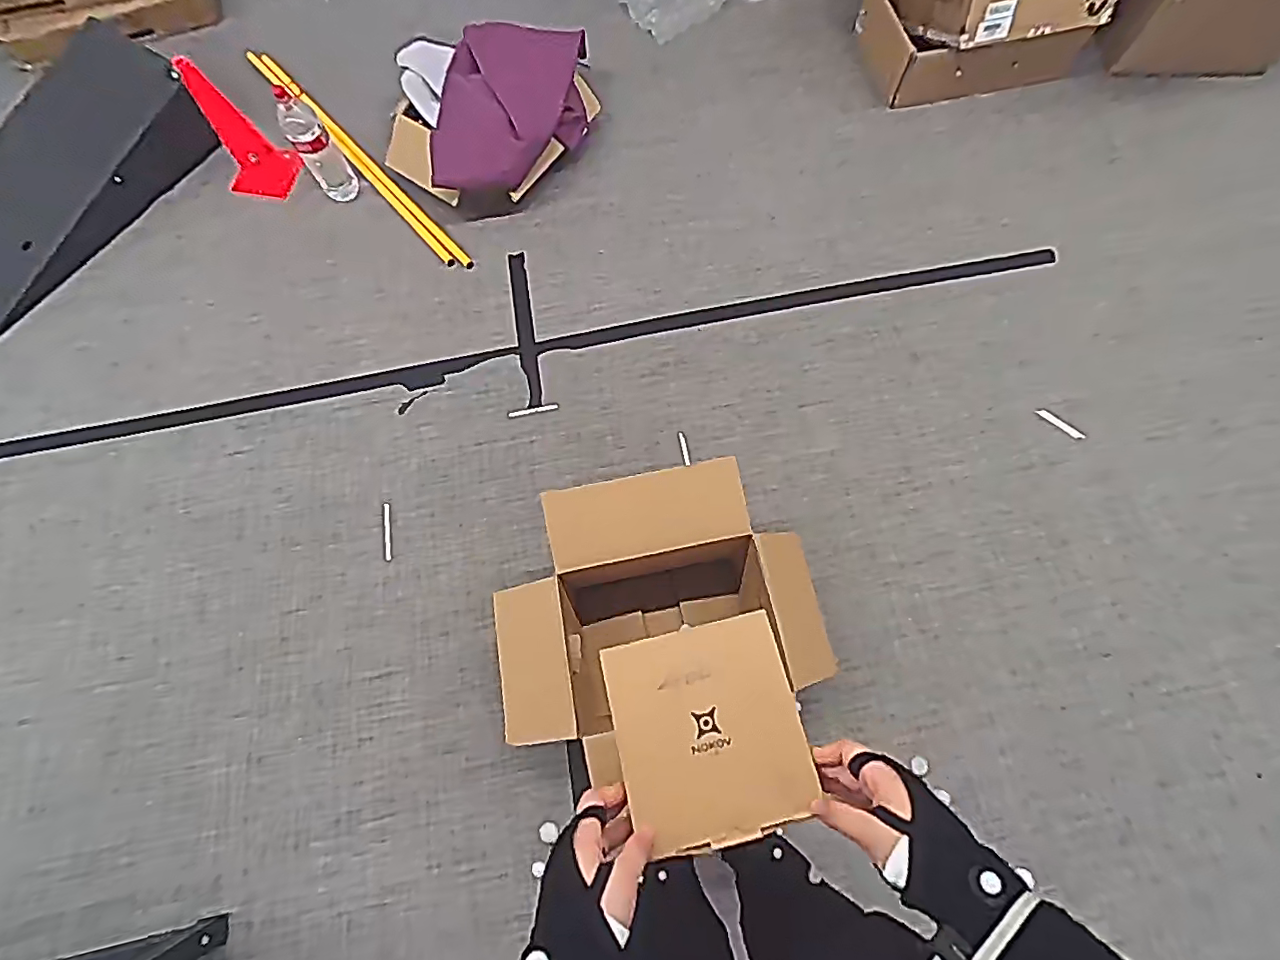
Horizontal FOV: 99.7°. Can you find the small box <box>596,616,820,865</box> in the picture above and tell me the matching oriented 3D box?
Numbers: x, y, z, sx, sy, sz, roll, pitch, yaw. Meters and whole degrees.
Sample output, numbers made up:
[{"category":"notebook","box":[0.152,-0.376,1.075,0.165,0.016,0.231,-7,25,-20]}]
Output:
[{"category":"small box","box":[0.059,0.255,0.556,0.168,0.176,0.179,-13,67,-4]}]
